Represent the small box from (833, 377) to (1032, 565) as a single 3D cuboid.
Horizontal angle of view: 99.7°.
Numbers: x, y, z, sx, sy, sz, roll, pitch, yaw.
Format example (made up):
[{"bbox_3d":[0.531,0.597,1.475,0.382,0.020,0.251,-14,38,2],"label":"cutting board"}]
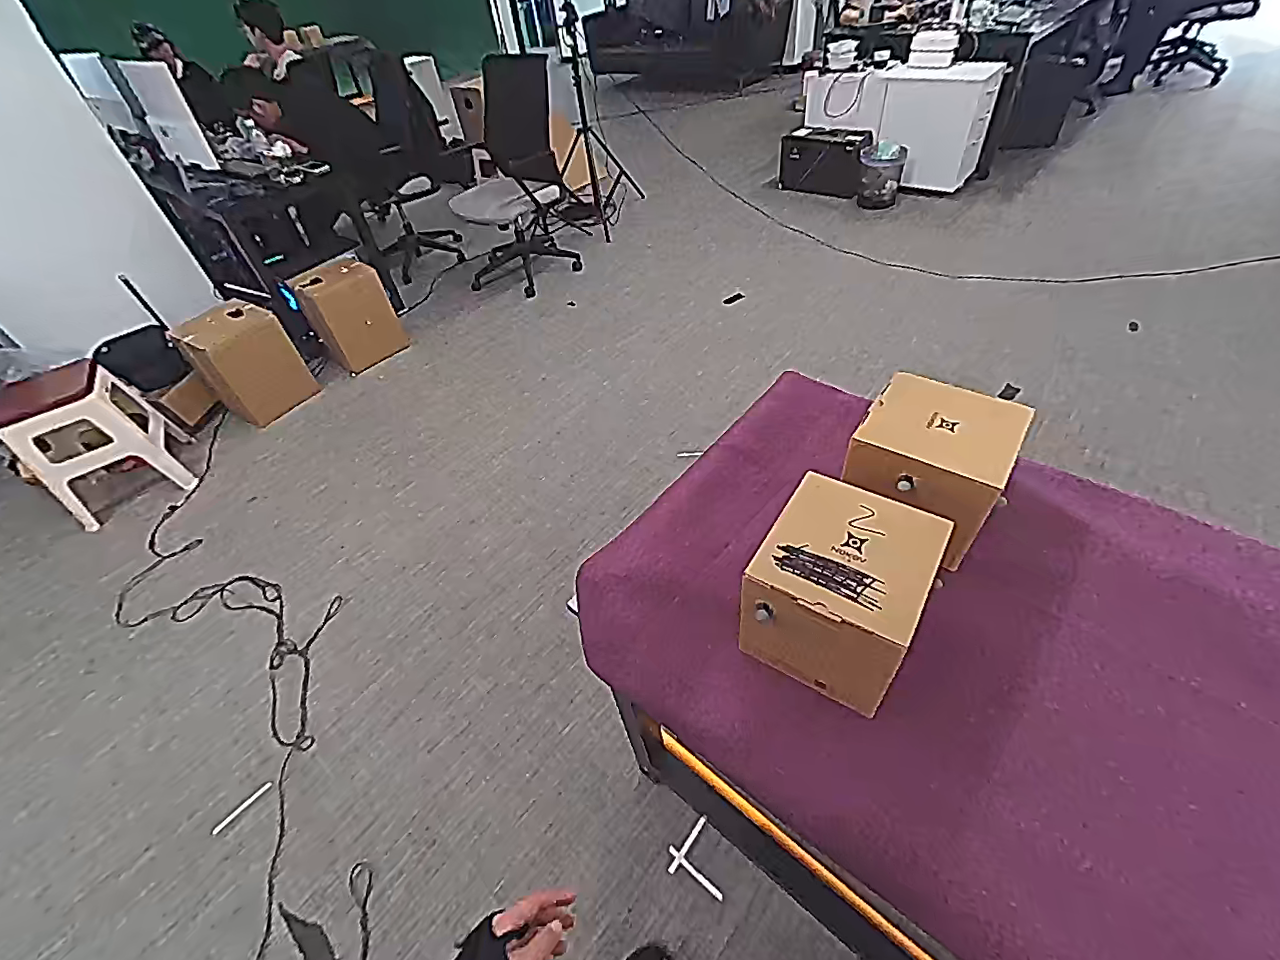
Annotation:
[{"bbox_3d":[0.391,-0.009,0.745,0.179,0.176,0.168,25,54,28],"label":"small box"}]
